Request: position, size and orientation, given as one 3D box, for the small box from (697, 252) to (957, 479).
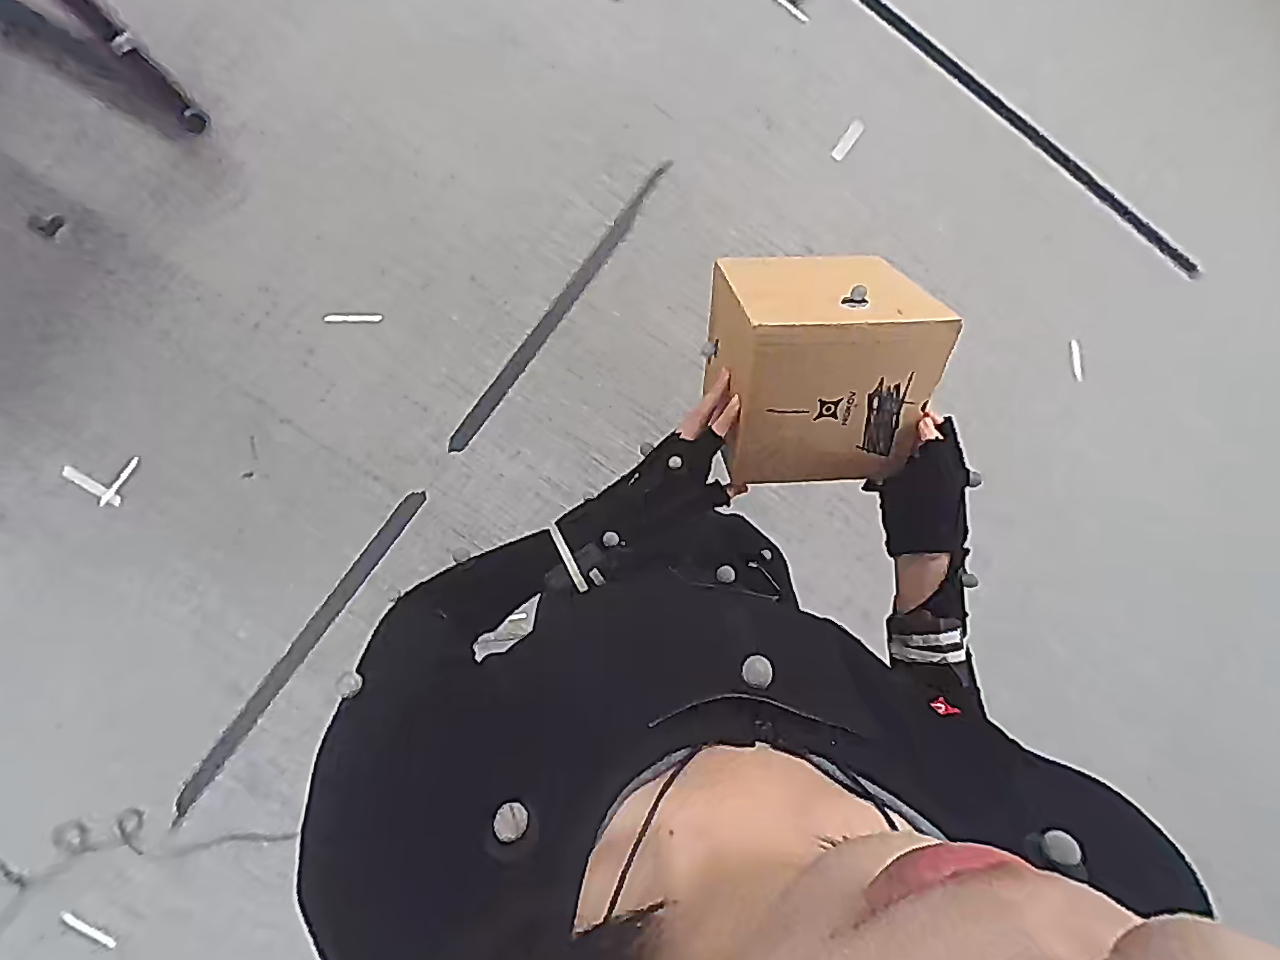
[{"bbox_3d":[0.162,-0.119,0.538,0.179,0.176,0.168,-3,129,-4],"label":"small box"}]
